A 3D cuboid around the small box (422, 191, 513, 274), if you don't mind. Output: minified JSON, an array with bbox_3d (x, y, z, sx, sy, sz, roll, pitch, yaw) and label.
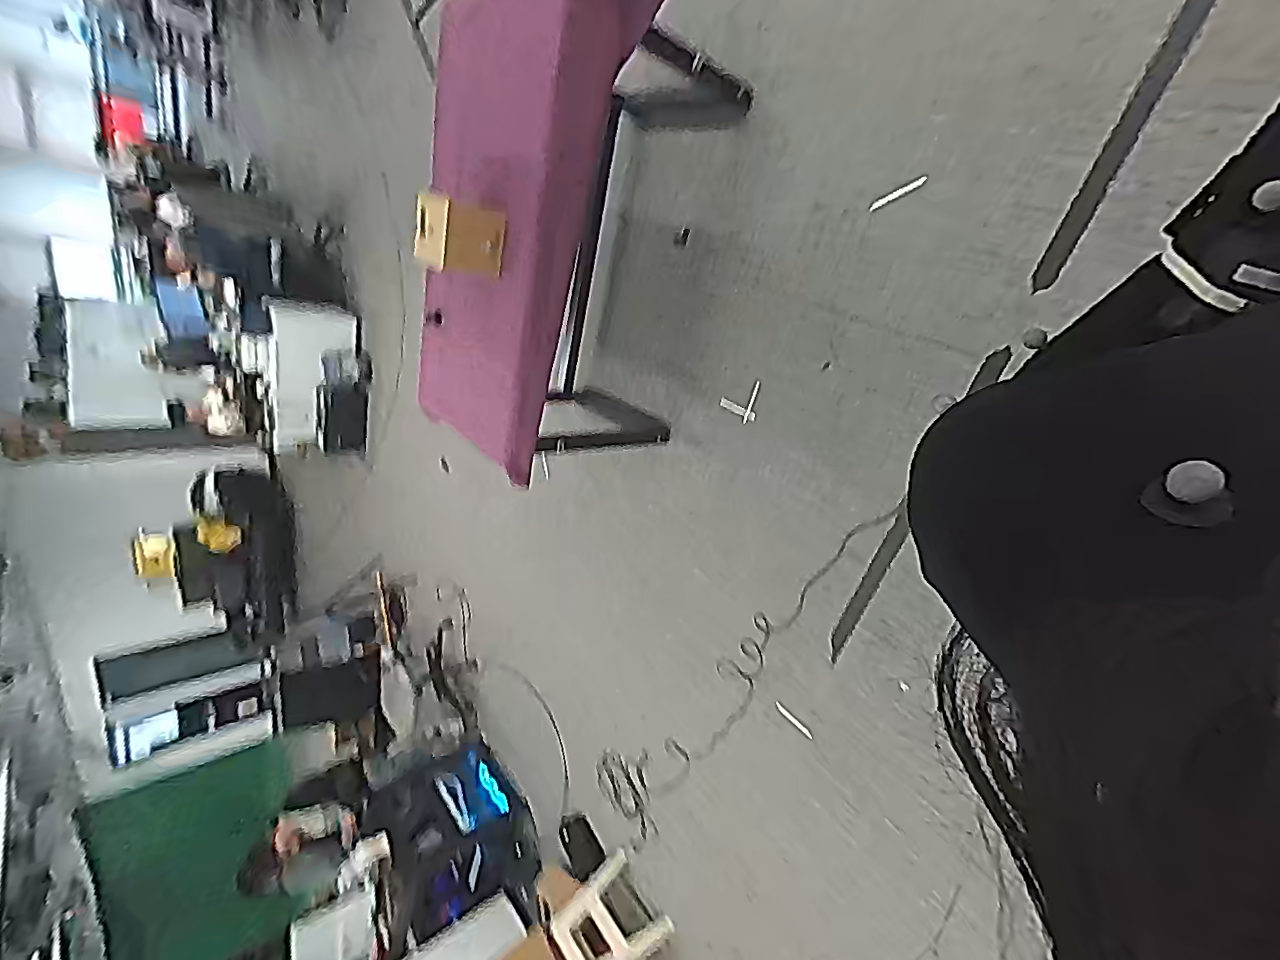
[{"bbox_3d":[-0.470,-0.668,1.466,0.179,0.176,0.168,33,119,38],"label":"small box"}]
